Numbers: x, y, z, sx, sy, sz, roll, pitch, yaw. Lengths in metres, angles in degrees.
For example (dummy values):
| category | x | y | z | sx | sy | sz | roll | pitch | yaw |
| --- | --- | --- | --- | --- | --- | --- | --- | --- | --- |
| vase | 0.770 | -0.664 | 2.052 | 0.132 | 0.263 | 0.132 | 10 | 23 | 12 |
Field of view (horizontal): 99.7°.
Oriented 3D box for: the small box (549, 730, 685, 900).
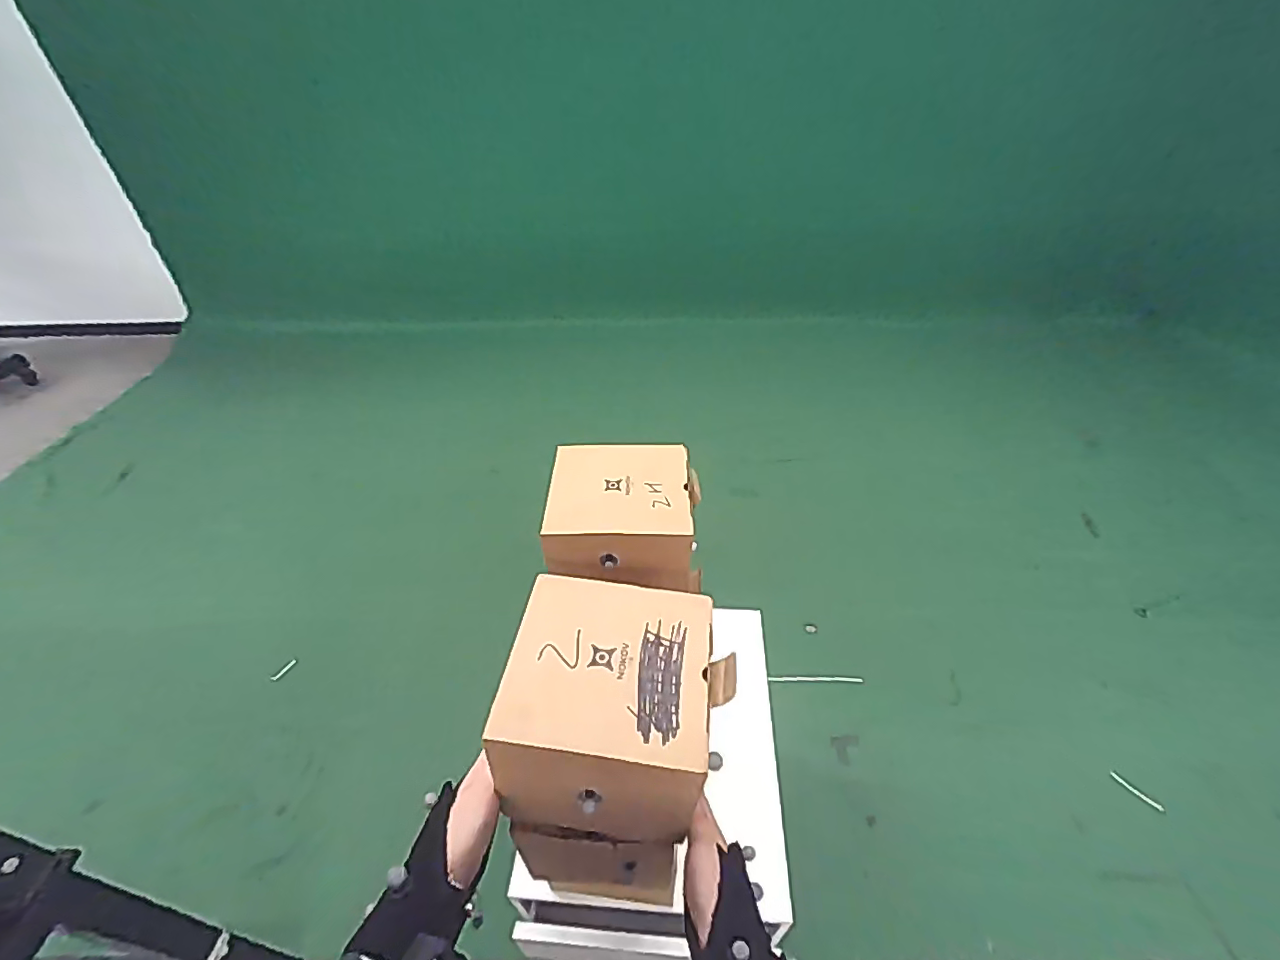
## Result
| category | x | y | z | sx | sy | sz | roll | pitch | yaw |
| --- | --- | --- | --- | --- | --- | --- | --- | --- | --- |
| small box | -0.032 | 0.457 | 0.753 | 0.179 | 0.176 | 0.168 | 5 | 41 | 6 |

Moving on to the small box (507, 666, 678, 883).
| category | x | y | z | sx | sy | sz | roll | pitch | yaw |
| --- | --- | --- | --- | --- | --- | --- | --- | --- | --- |
| small box | -0.042 | 0.345 | 0.634 | 0.168 | 0.176 | 0.179 | 3 | 40 | 3 |

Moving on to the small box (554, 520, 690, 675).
| category | x | y | z | sx | sy | sz | roll | pitch | yaw |
| --- | --- | --- | --- | --- | --- | --- | --- | --- | --- |
| small box | -0.019 | 0.182 | 0.823 | 0.179 | 0.176 | 0.168 | 5 | 41 | 6 |
